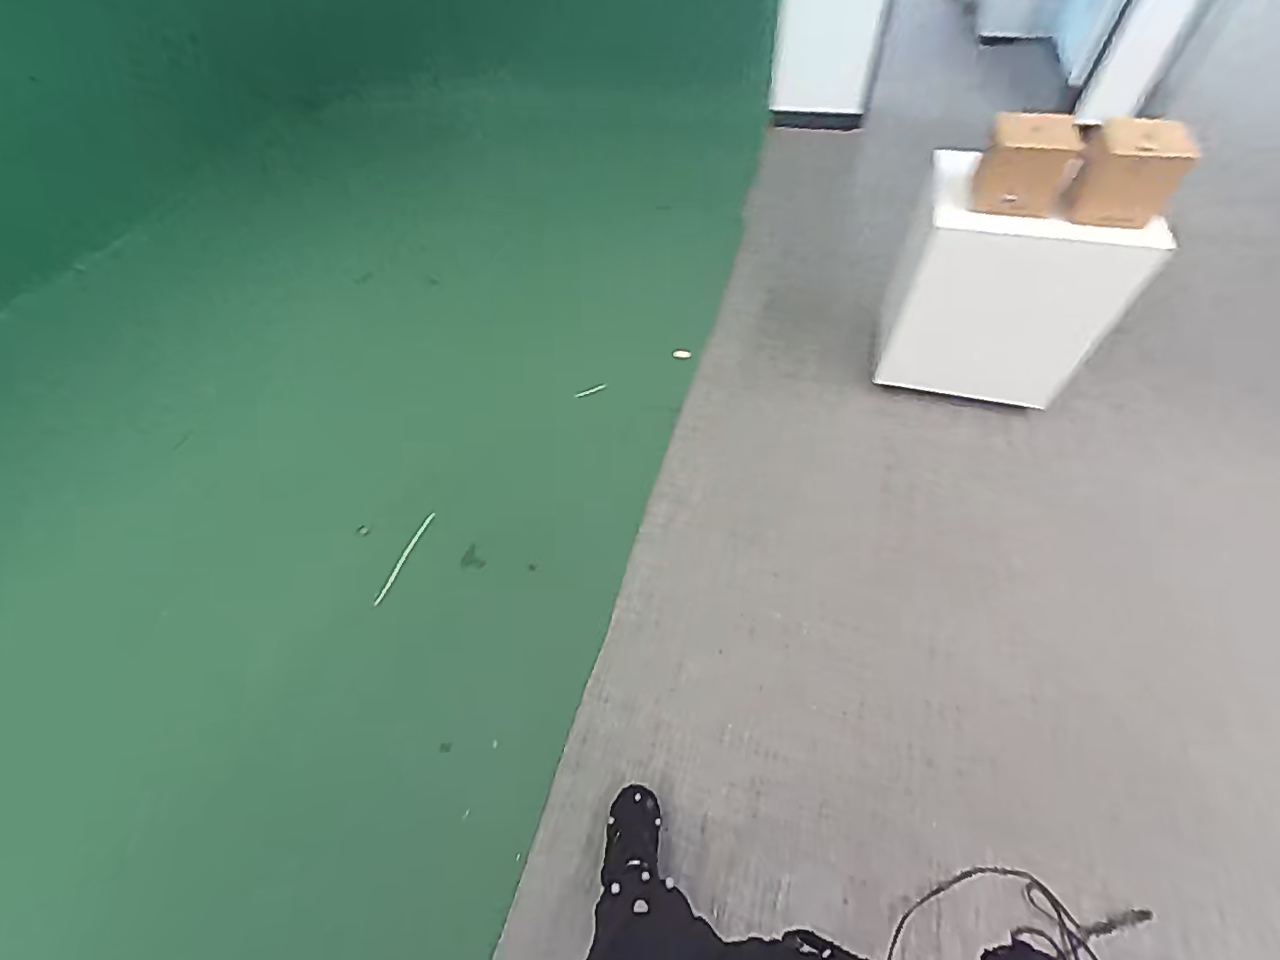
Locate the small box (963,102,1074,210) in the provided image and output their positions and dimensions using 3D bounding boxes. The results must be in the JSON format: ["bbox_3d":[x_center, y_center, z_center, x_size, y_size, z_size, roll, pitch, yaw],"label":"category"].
[{"bbox_3d":[0.918,-0.796,1.331,0.168,0.176,0.179,9,59,12],"label":"small box"}]

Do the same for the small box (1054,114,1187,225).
[{"bbox_3d":[1.126,-0.739,1.287,0.168,0.176,0.179,11,57,13],"label":"small box"}]
